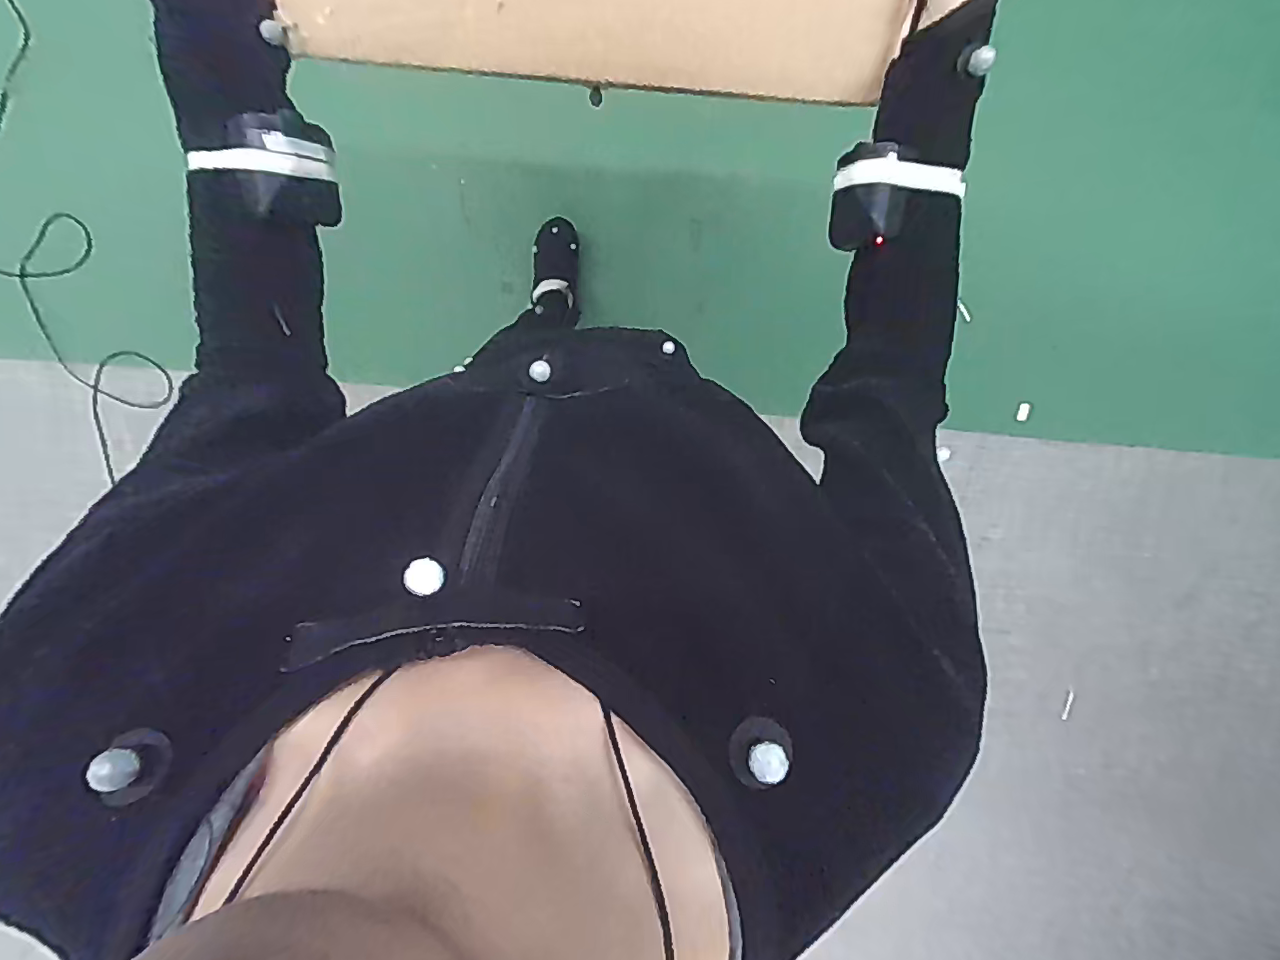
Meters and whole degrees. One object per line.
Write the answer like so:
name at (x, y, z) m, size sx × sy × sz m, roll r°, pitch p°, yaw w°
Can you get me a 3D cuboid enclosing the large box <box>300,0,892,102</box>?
large box at (-0.027, -0.497, 0.416) m, size 0.408 × 0.320 × 0.320 m, roll 0°, pitch 126°, yaw -6°
